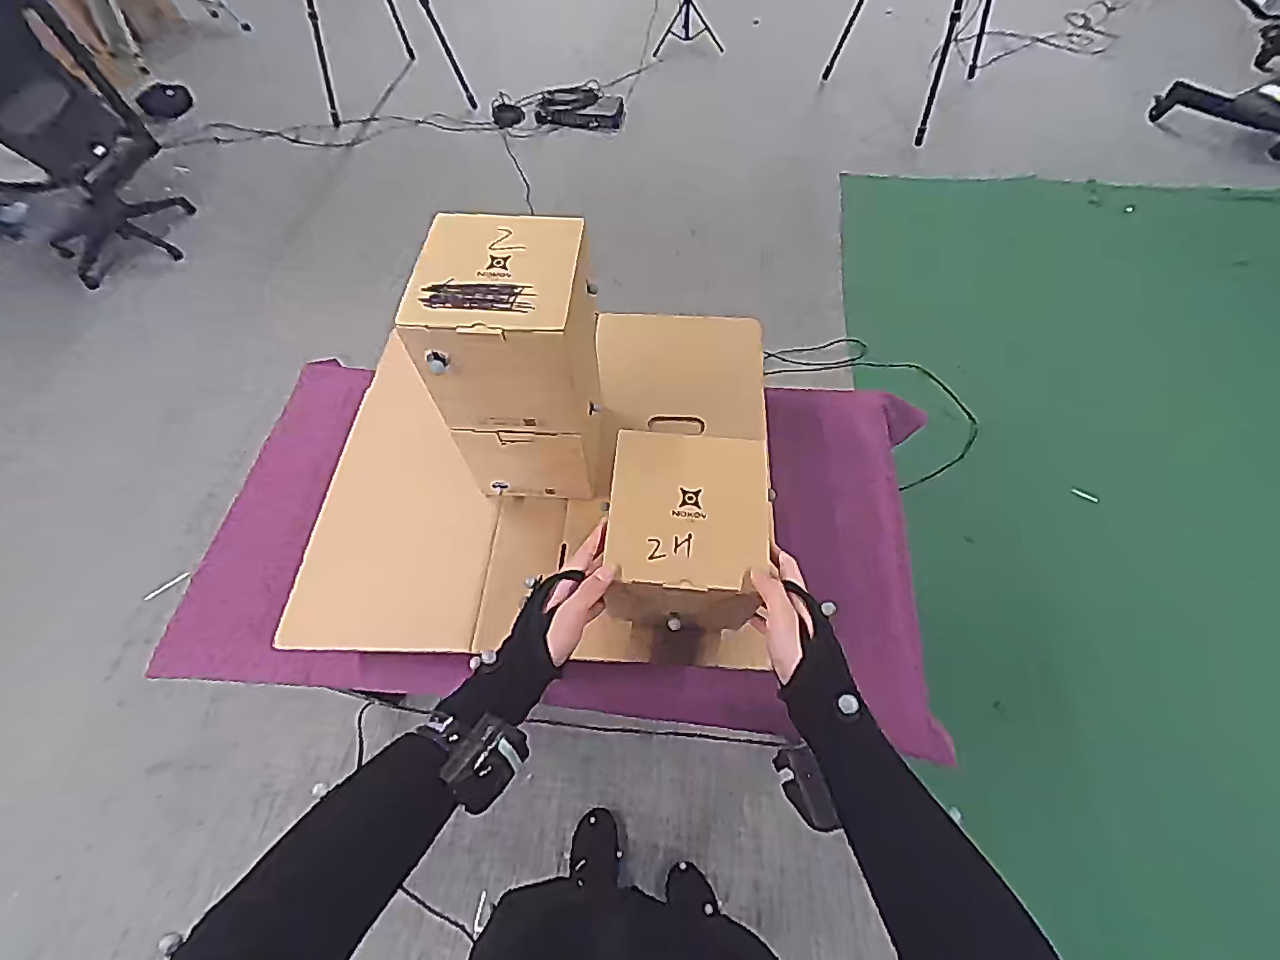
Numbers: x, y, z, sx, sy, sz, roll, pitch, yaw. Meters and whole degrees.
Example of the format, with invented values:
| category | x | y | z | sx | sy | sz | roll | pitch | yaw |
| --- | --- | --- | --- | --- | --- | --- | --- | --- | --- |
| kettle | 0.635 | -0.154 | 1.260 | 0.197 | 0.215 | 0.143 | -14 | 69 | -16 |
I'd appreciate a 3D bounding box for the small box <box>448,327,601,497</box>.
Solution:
| category | x | y | z | sx | sy | sz | roll | pitch | yaw |
| --- | --- | --- | --- | --- | --- | --- | --- | --- | --- |
| small box | -0.145 | -0.089 | 0.757 | 0.168 | 0.176 | 0.179 | 3 | 59 | 1 |
